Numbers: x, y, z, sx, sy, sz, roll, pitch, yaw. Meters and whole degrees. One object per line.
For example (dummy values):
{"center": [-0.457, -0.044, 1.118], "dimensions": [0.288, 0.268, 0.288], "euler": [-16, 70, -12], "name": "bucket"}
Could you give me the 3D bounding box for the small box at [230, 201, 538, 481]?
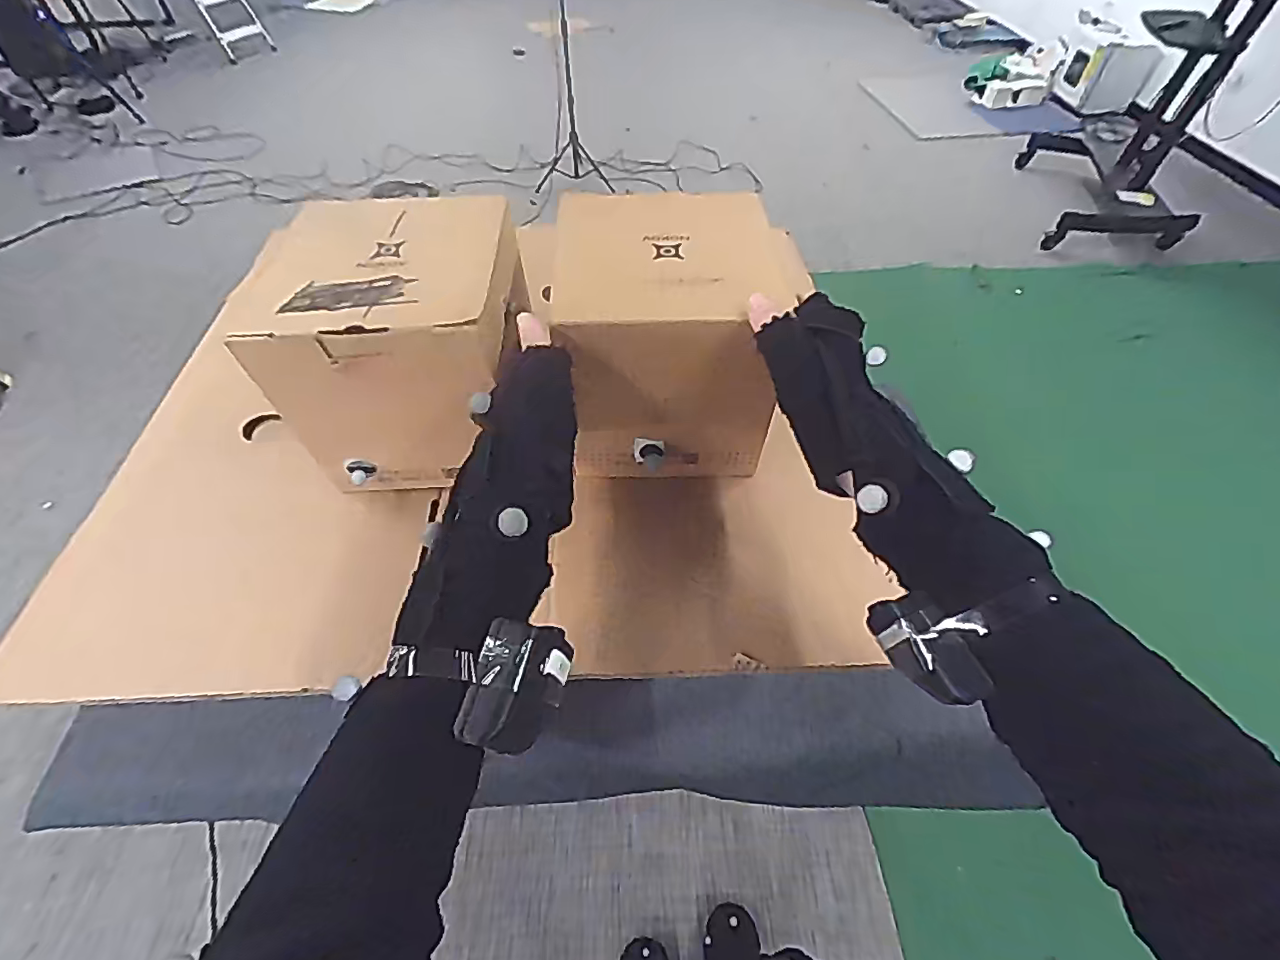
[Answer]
{"center": [-0.186, -0.110, 0.462], "dimensions": [0.168, 0.176, 0.179], "euler": [-3, 52, -1], "name": "small box"}
